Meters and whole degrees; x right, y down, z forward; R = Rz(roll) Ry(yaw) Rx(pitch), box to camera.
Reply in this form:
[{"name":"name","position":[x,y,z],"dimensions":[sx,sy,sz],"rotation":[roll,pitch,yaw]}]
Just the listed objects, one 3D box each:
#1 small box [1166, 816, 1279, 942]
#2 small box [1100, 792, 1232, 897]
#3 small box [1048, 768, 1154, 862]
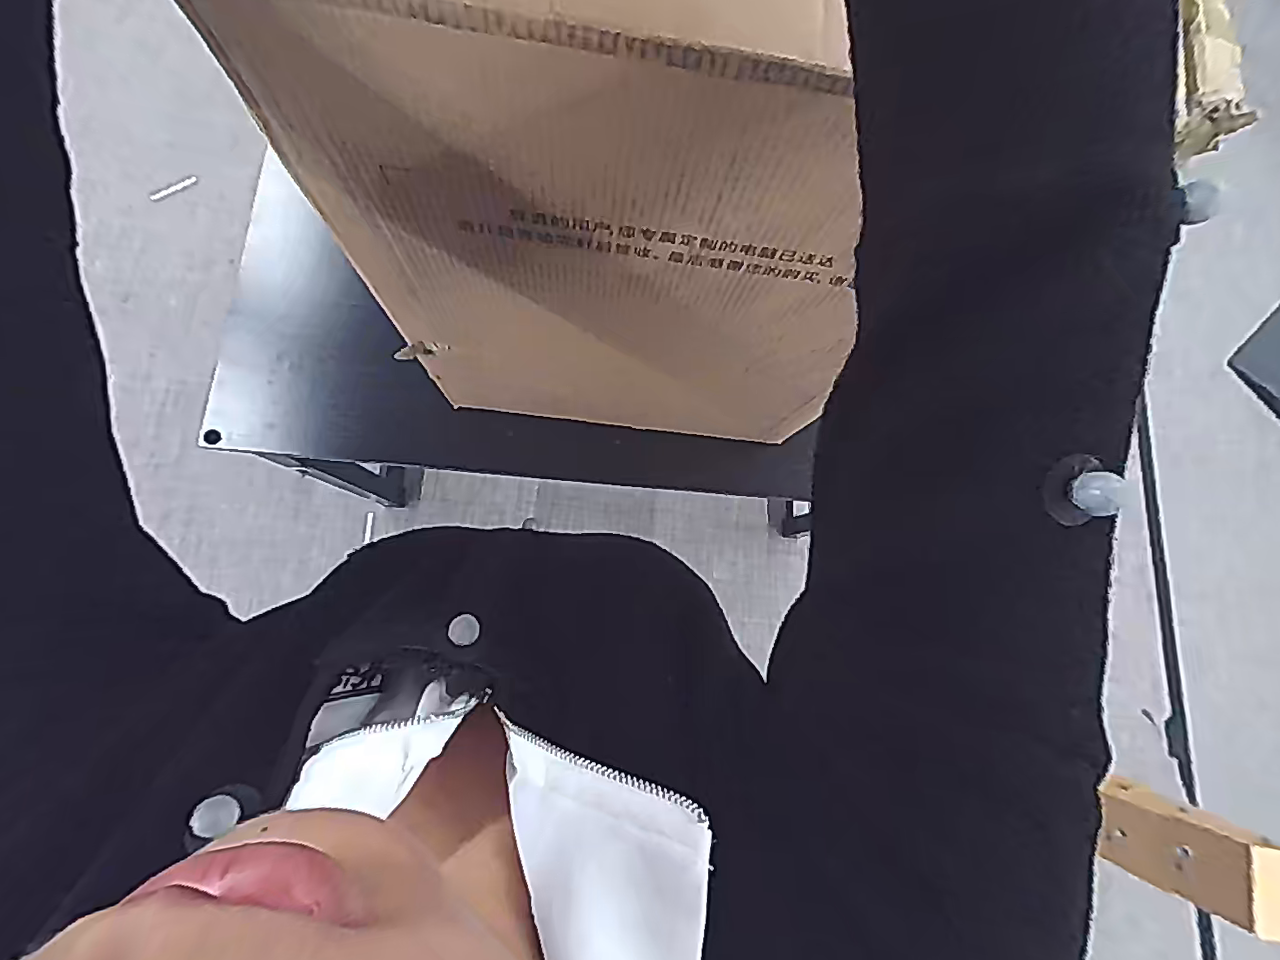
[{"name":"small box","position":[1.290,0.848,1.156],"dimensions":[0.179,0.176,0.168],"rotation":[11,78,-4]},{"name":"small box","position":[1.278,0.879,1.316],"dimensions":[0.179,0.176,0.168],"rotation":[6,79,-5]},{"name":"small box","position":[1.259,0.904,1.477],"dimensions":[0.168,0.176,0.179],"rotation":[2,80,-6]}]
